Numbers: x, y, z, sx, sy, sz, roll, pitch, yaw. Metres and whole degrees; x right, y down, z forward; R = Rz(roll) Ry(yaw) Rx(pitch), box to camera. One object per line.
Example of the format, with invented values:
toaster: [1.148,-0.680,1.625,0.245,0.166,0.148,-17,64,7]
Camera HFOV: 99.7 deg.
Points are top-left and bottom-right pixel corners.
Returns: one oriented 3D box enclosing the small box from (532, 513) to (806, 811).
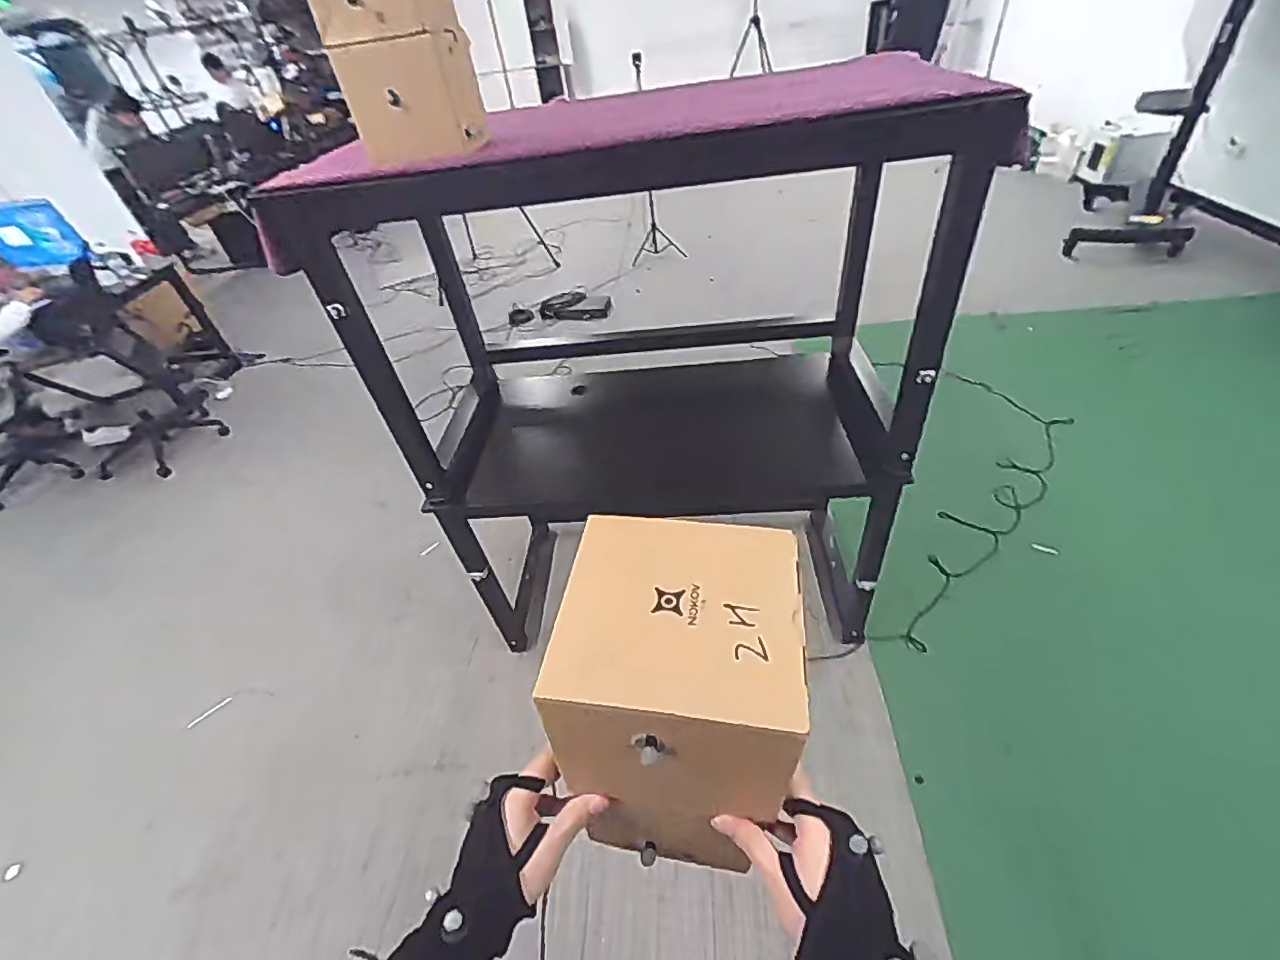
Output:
small box: [0.032,0.148,0.445,0.179,0.176,0.168,4,43,8]

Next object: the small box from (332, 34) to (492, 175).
small box: [-0.377,-0.649,0.937,0.179,0.176,0.168,-4,41,8]

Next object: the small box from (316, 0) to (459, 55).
small box: [-0.401,-0.776,0.839,0.168,0.176,0.179,-3,41,7]

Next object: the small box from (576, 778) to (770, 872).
small box: [0.040,0.267,0.557,0.168,0.176,0.179,5,42,9]
